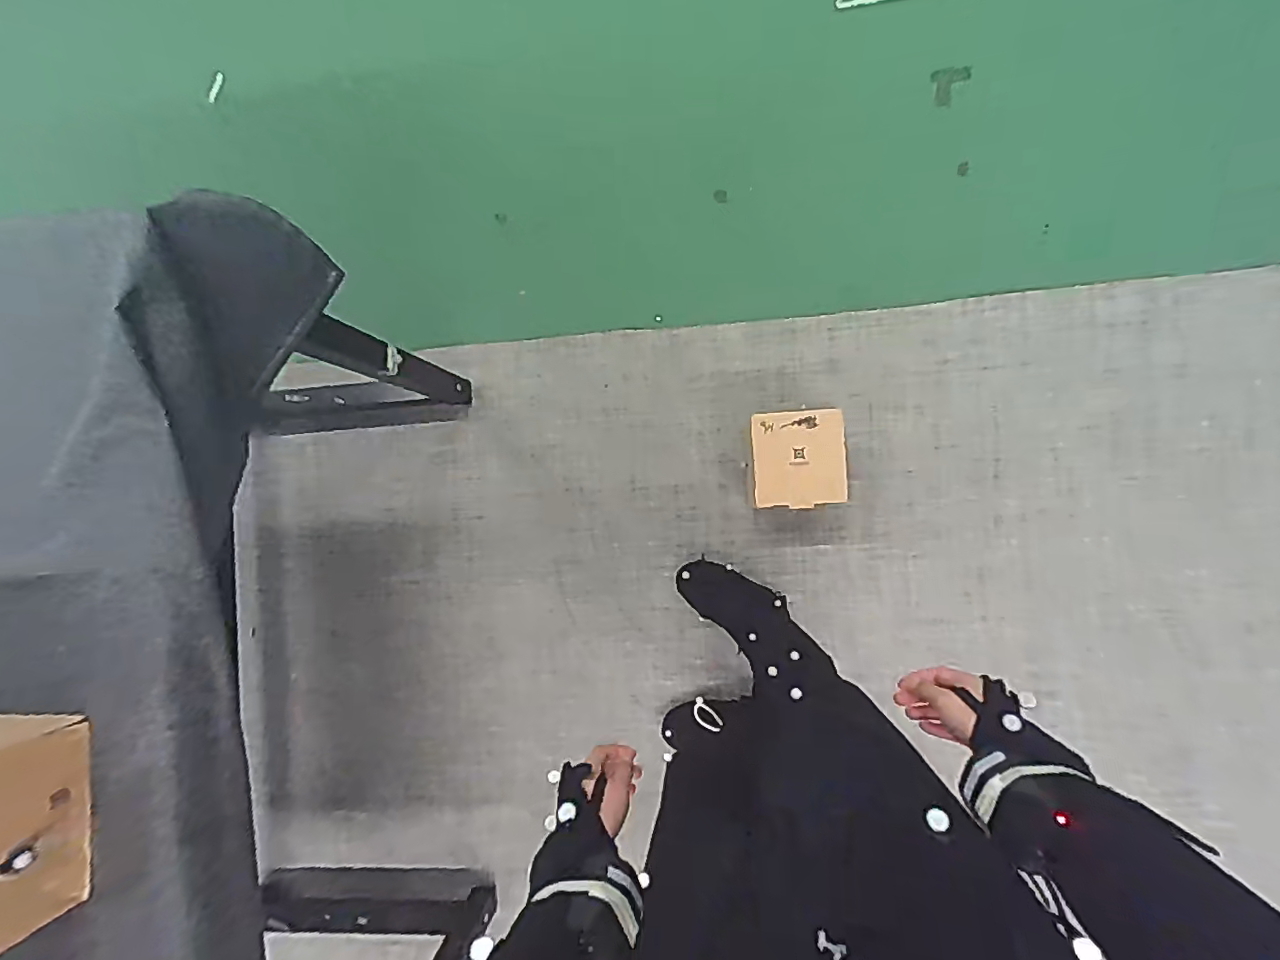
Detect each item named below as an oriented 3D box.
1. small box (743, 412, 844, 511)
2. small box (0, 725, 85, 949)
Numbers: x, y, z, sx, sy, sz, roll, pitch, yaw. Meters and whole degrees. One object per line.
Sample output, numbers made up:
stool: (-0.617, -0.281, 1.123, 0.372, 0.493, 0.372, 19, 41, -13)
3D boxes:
small box: (0.293, -0.034, 1.059, 0.168, 0.176, 0.179, -3, 89, 6)
small box: (-0.600, 0.304, 0.418, 0.179, 0.176, 0.168, -3, 88, 6)
